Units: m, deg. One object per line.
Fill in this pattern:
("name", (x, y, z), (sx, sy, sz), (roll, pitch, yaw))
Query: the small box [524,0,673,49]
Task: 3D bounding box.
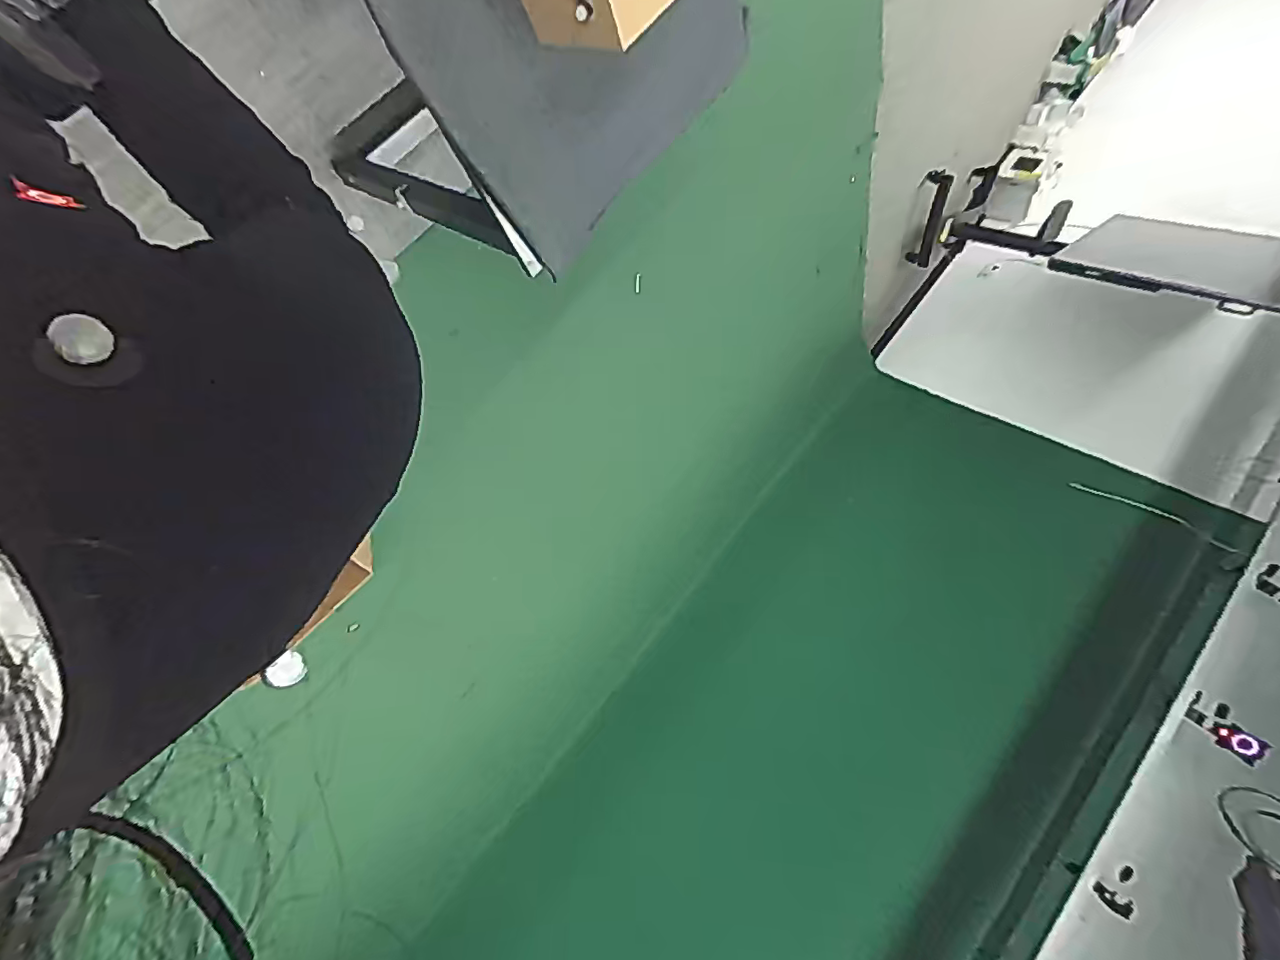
("small box", (-0.055, -0.659, 0.638), (0.168, 0.176, 0.179), (-51, 148, -10))
